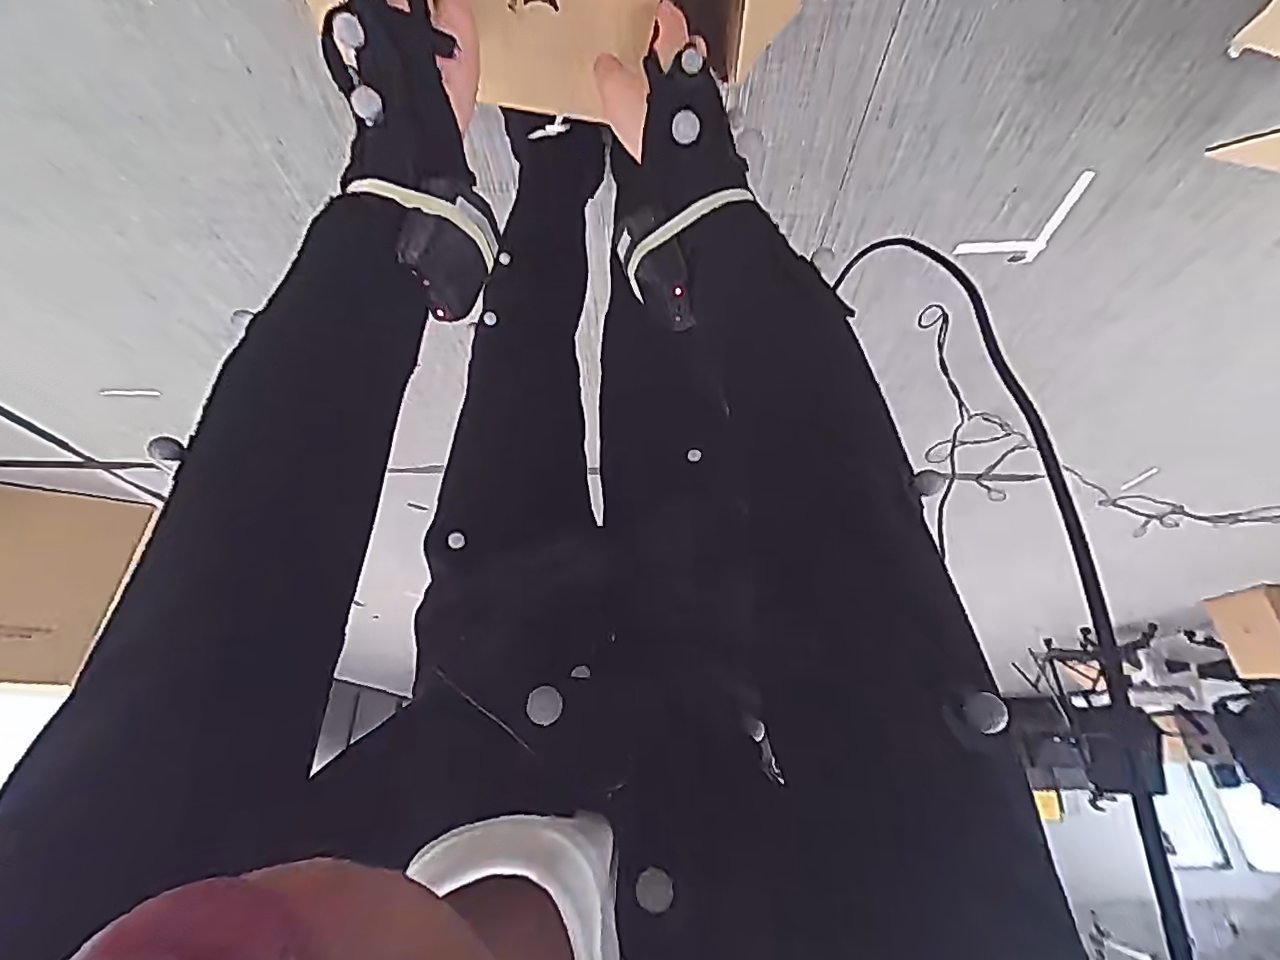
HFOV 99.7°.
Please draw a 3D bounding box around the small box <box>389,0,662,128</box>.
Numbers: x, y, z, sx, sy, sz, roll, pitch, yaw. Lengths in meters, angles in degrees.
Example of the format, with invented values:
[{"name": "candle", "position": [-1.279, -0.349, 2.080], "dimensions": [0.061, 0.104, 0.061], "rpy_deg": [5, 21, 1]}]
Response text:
[{"name": "small box", "position": [-0.079, -0.390, 0.374], "dimensions": [0.179, 0.176, 0.168], "rpy_deg": [0, 156, -16]}]
